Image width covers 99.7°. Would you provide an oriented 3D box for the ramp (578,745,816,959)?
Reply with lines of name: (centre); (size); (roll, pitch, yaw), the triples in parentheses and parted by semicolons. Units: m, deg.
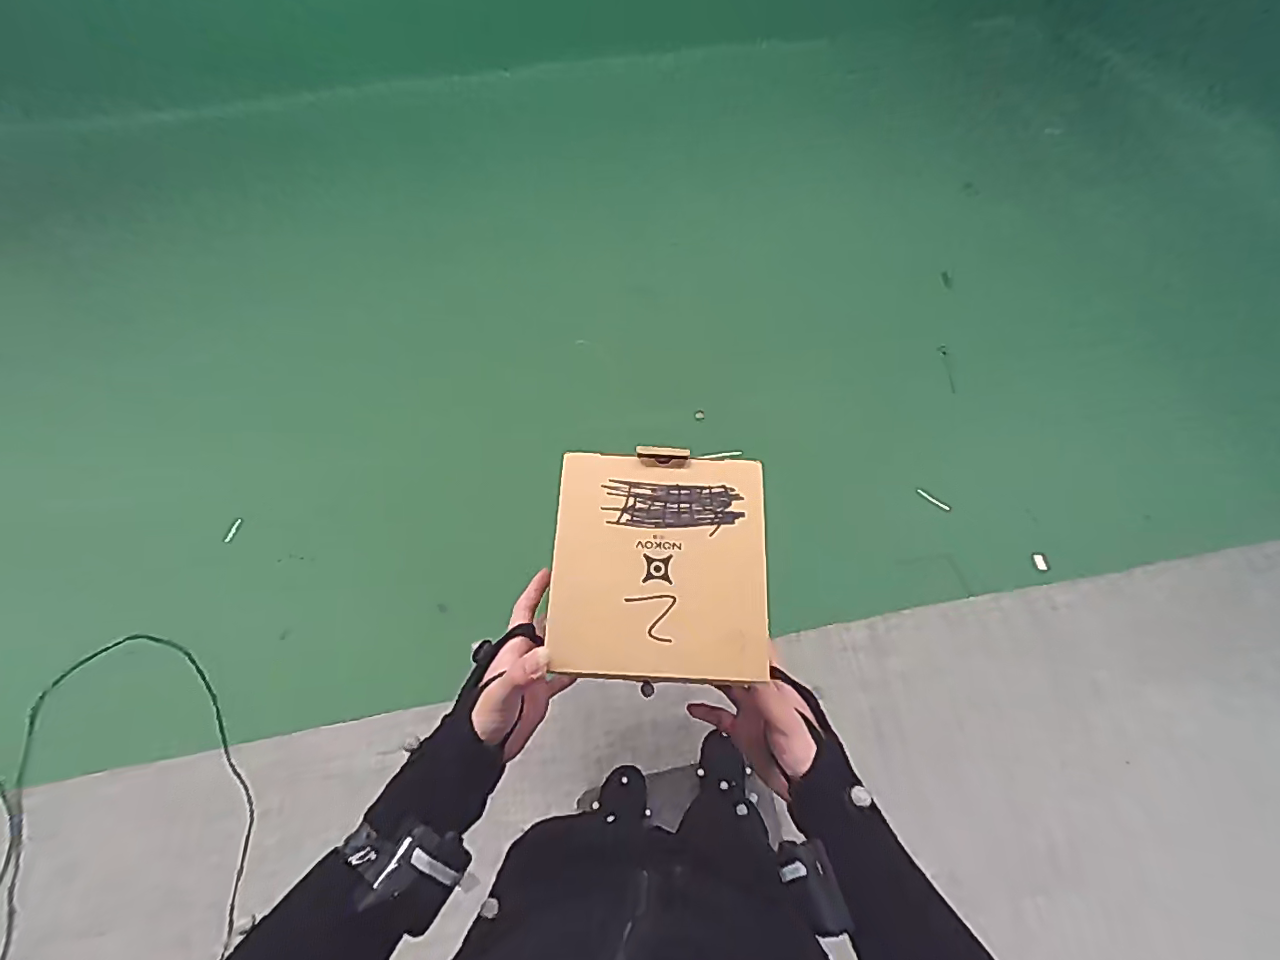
ramp: (0.184, 1.201, 1.254); (0.509, 0.206, 0.991); (-12, 67, -6)
